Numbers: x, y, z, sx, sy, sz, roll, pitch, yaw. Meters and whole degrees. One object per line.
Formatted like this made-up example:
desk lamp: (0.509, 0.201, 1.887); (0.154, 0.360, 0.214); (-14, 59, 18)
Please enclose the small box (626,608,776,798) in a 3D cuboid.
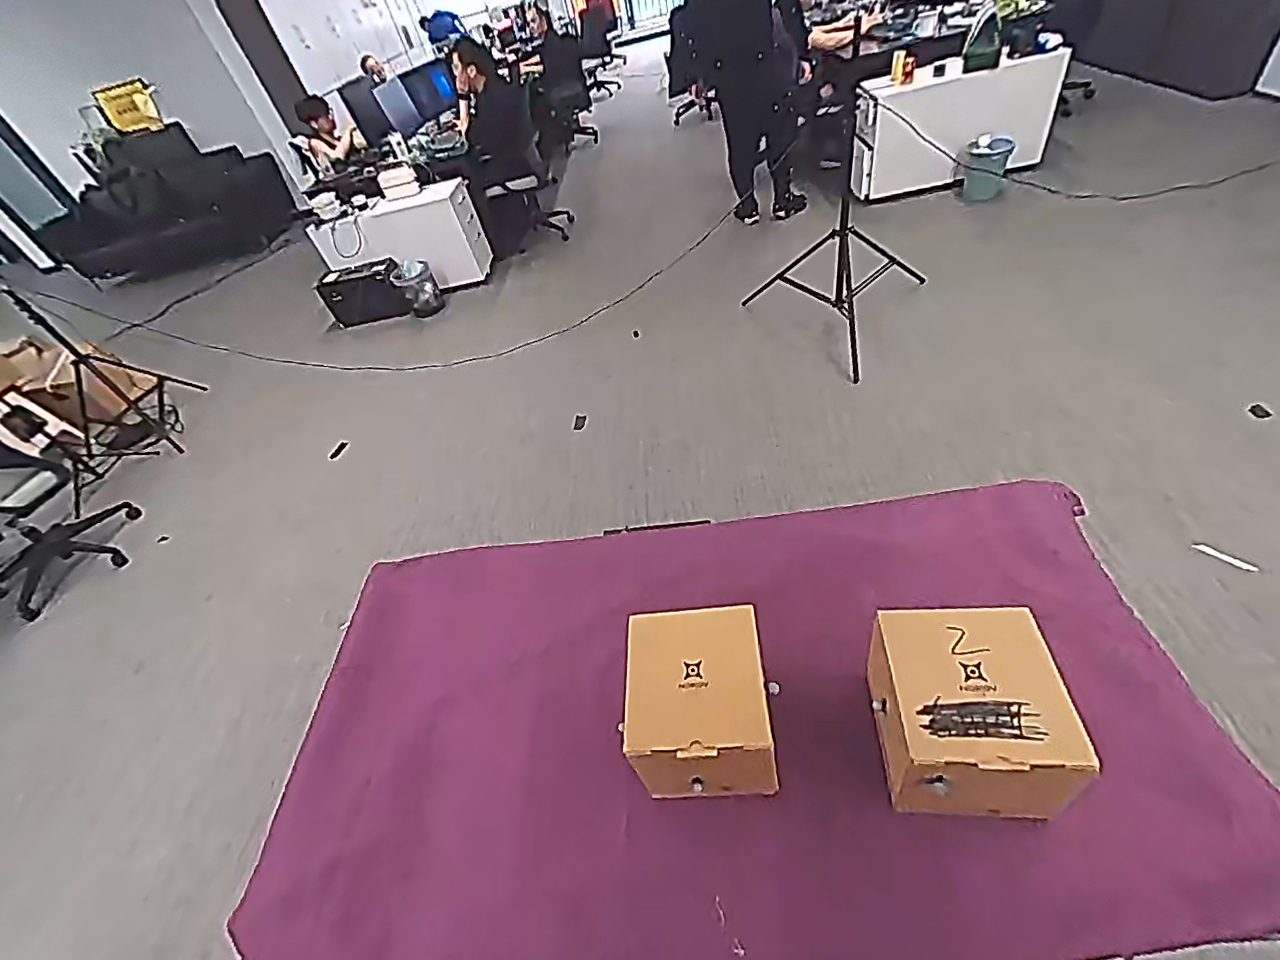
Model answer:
small box: (0.082, 0.291, 0.703); (0.168, 0.176, 0.179); (-7, 45, 9)
